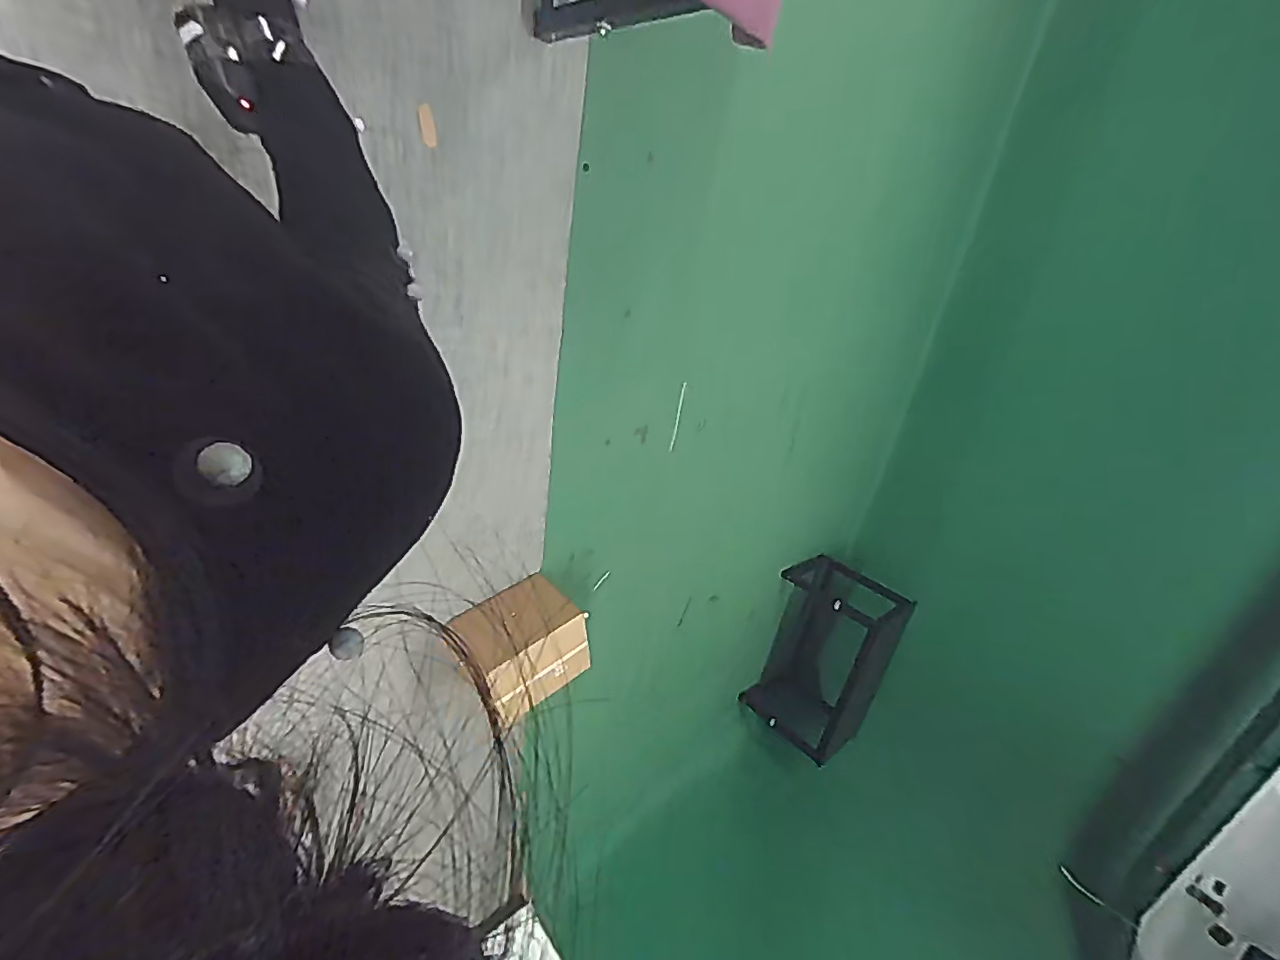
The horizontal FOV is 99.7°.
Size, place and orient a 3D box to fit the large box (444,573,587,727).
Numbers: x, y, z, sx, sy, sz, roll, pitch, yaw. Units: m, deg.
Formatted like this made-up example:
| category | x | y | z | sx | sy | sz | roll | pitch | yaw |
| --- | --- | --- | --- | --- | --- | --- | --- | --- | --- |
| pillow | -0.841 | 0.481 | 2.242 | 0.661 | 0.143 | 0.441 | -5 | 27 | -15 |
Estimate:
| category | x | y | z | sx | sy | sz | roll | pitch | yaw |
| --- | --- | --- | --- | --- | --- | --- | --- | --- | --- |
| large box | -0.462 | 0.629 | 2.053 | 0.408 | 0.320 | 0.320 | -28 | 132 | -34 |
